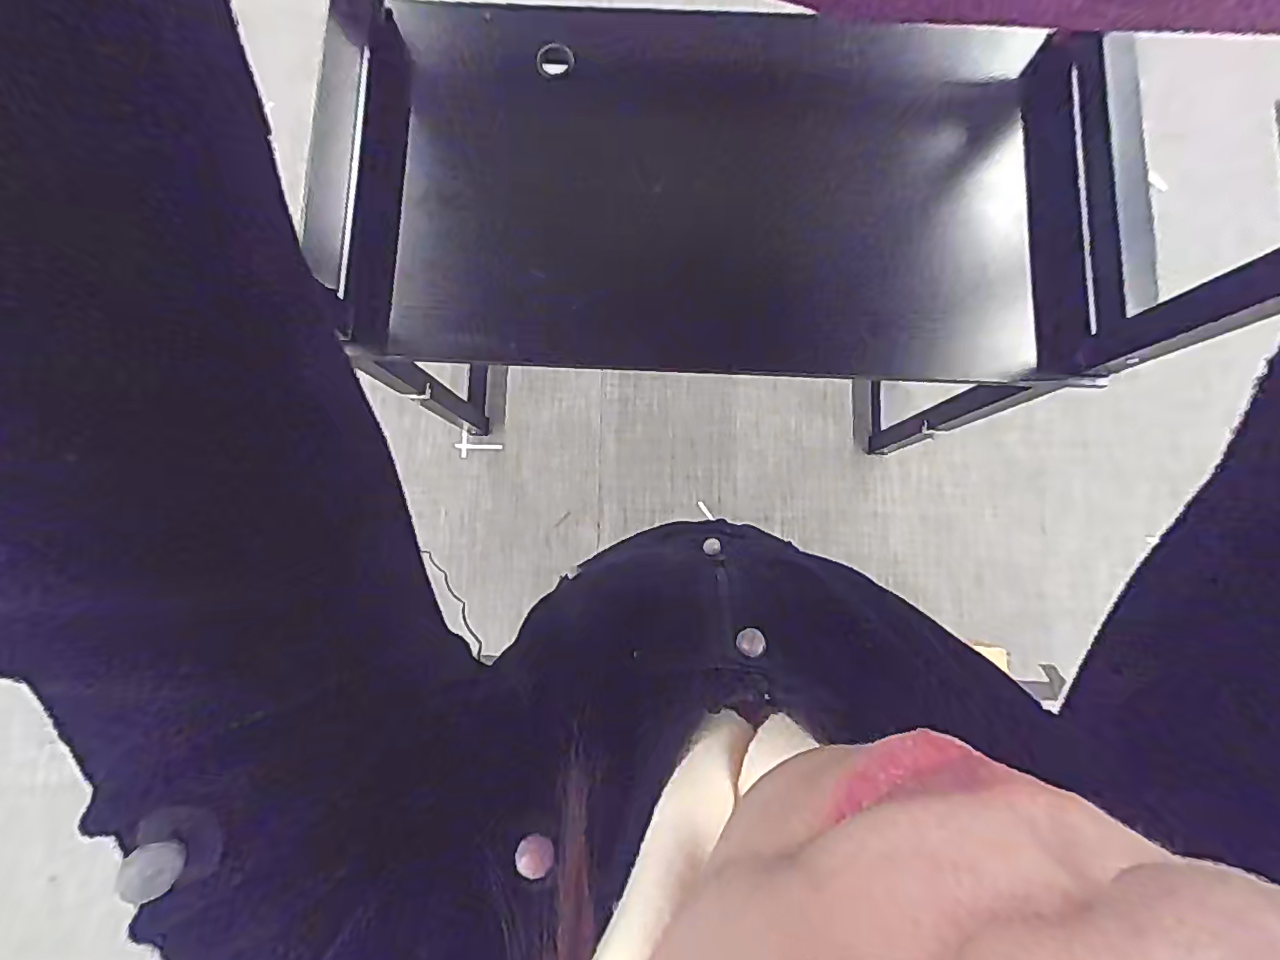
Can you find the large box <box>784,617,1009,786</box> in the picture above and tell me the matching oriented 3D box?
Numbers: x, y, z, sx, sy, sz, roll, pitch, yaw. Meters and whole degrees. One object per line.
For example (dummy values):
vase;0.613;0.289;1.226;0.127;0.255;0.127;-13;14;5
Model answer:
large box;0.589;0.511;1.312;0.408;0.320;0.320;2;85;0
